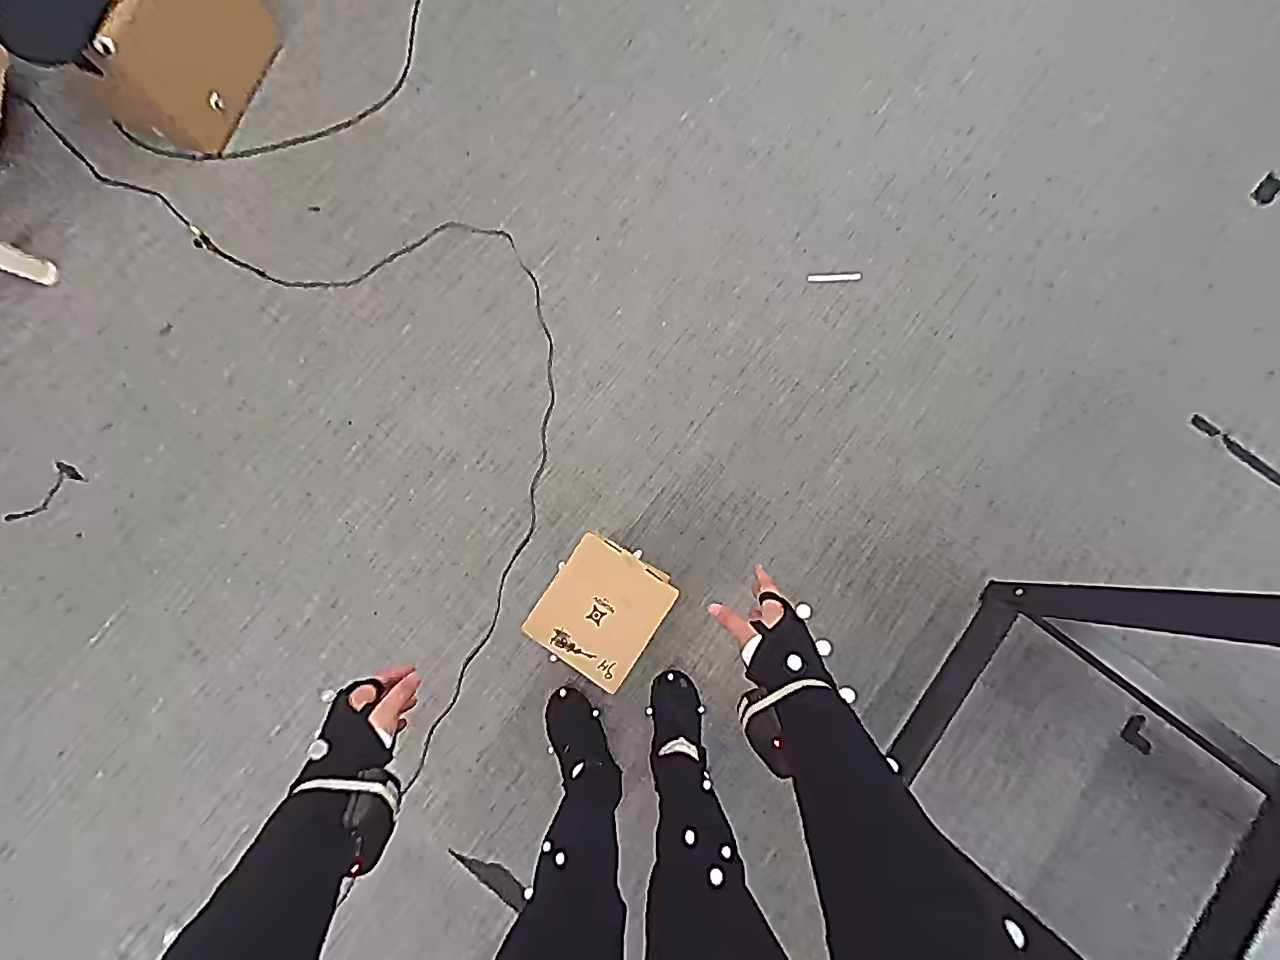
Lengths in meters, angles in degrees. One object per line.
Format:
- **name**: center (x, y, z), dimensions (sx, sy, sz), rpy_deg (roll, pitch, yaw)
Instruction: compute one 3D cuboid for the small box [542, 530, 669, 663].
- **small box**: center (-0.060, 0.216, 1.025), dimensions (0.168, 0.176, 0.179), rpy_deg (30, 80, 3)
